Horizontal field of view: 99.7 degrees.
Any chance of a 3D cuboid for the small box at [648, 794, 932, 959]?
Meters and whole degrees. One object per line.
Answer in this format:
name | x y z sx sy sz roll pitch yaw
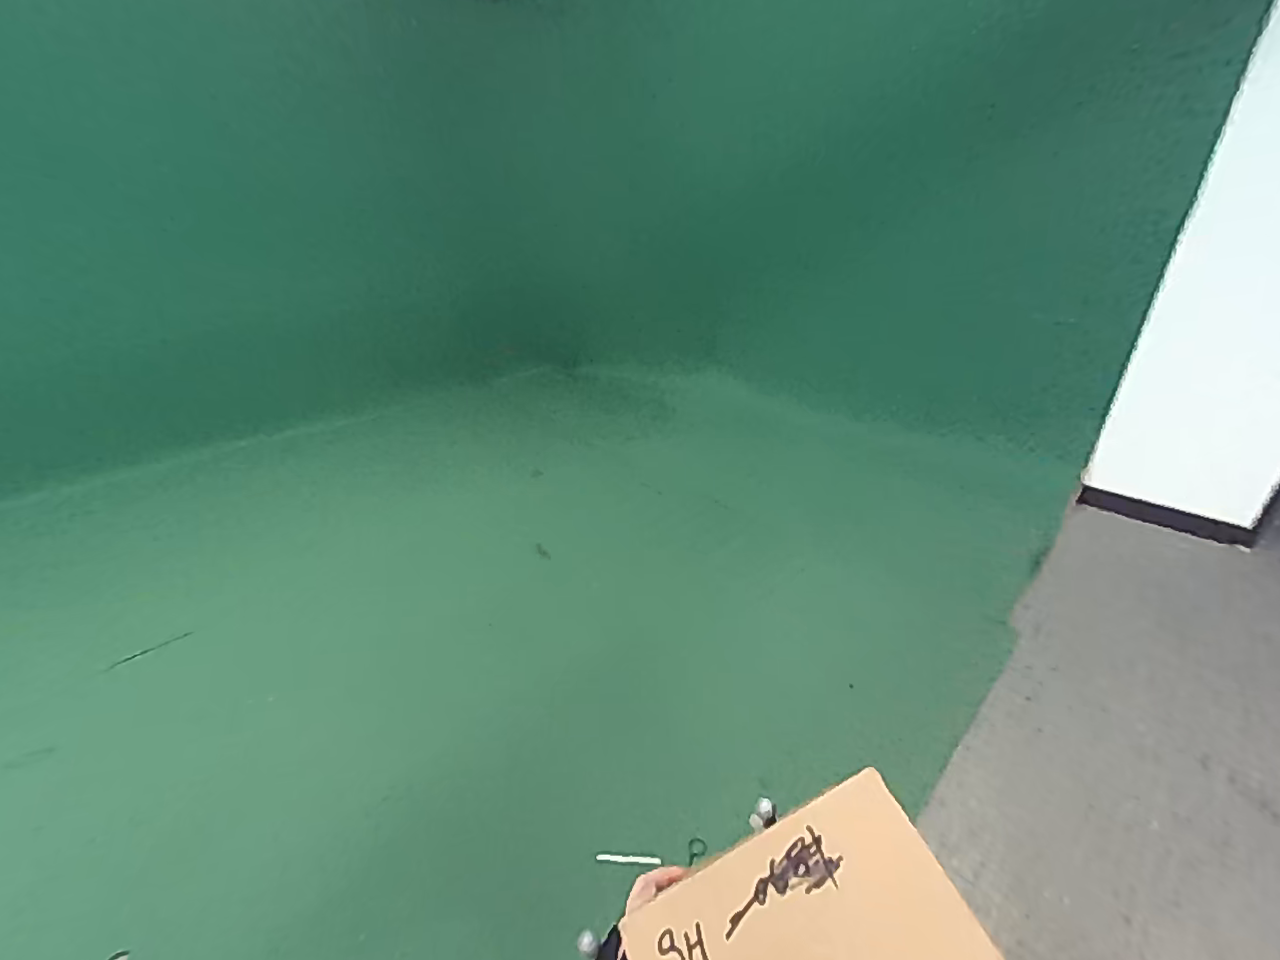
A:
small box | 0.129 0.389 0.448 0.179 0.176 0.168 -25 56 -4
